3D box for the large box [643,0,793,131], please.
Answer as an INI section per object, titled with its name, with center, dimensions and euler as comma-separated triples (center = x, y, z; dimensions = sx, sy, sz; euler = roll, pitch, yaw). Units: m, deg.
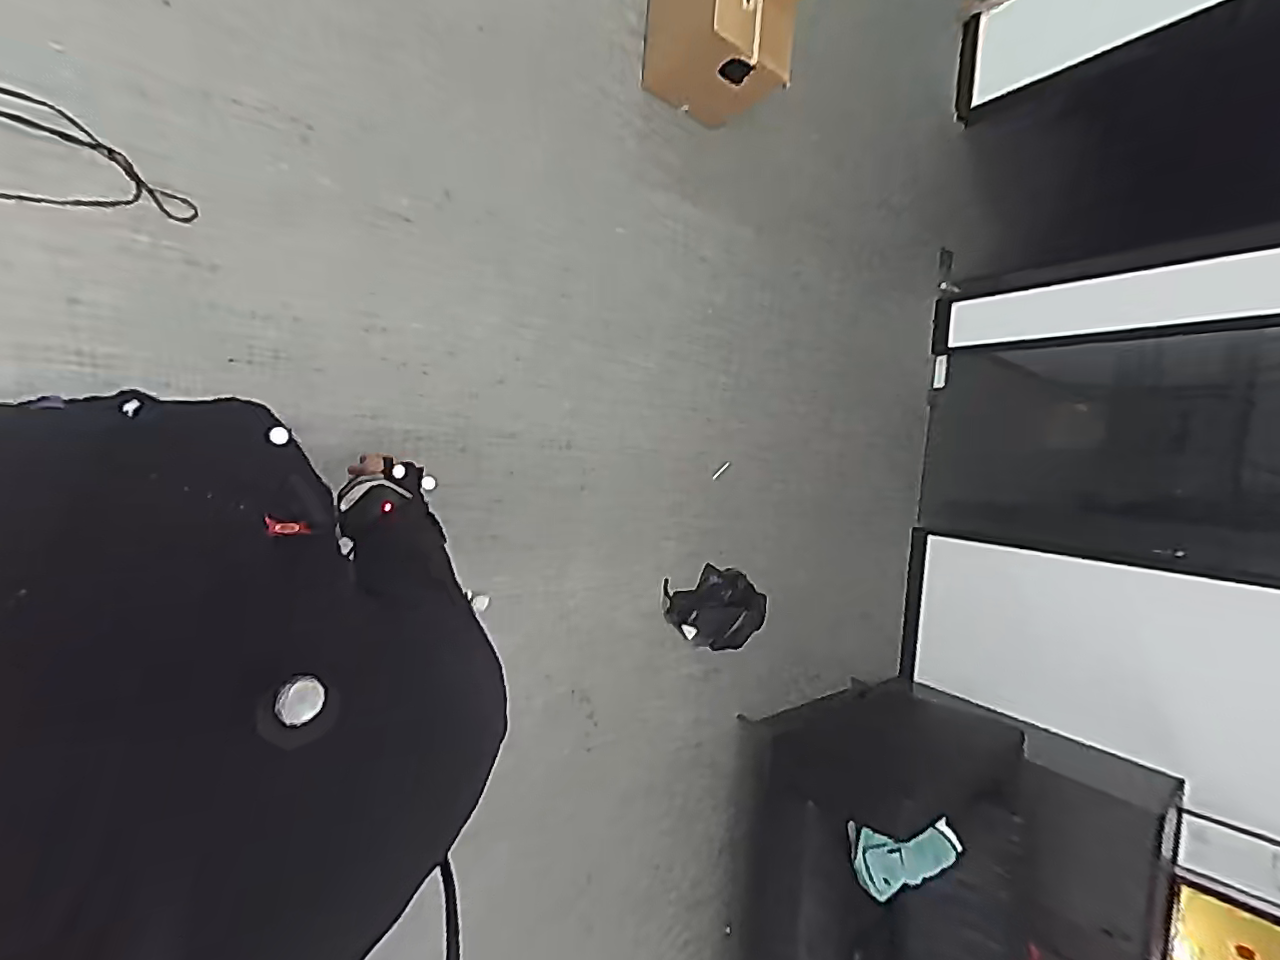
[large box]
center = 0.228, -1.352, 1.594
dimensions = 0.320, 0.320, 0.408
euler = 2, 95, -37
